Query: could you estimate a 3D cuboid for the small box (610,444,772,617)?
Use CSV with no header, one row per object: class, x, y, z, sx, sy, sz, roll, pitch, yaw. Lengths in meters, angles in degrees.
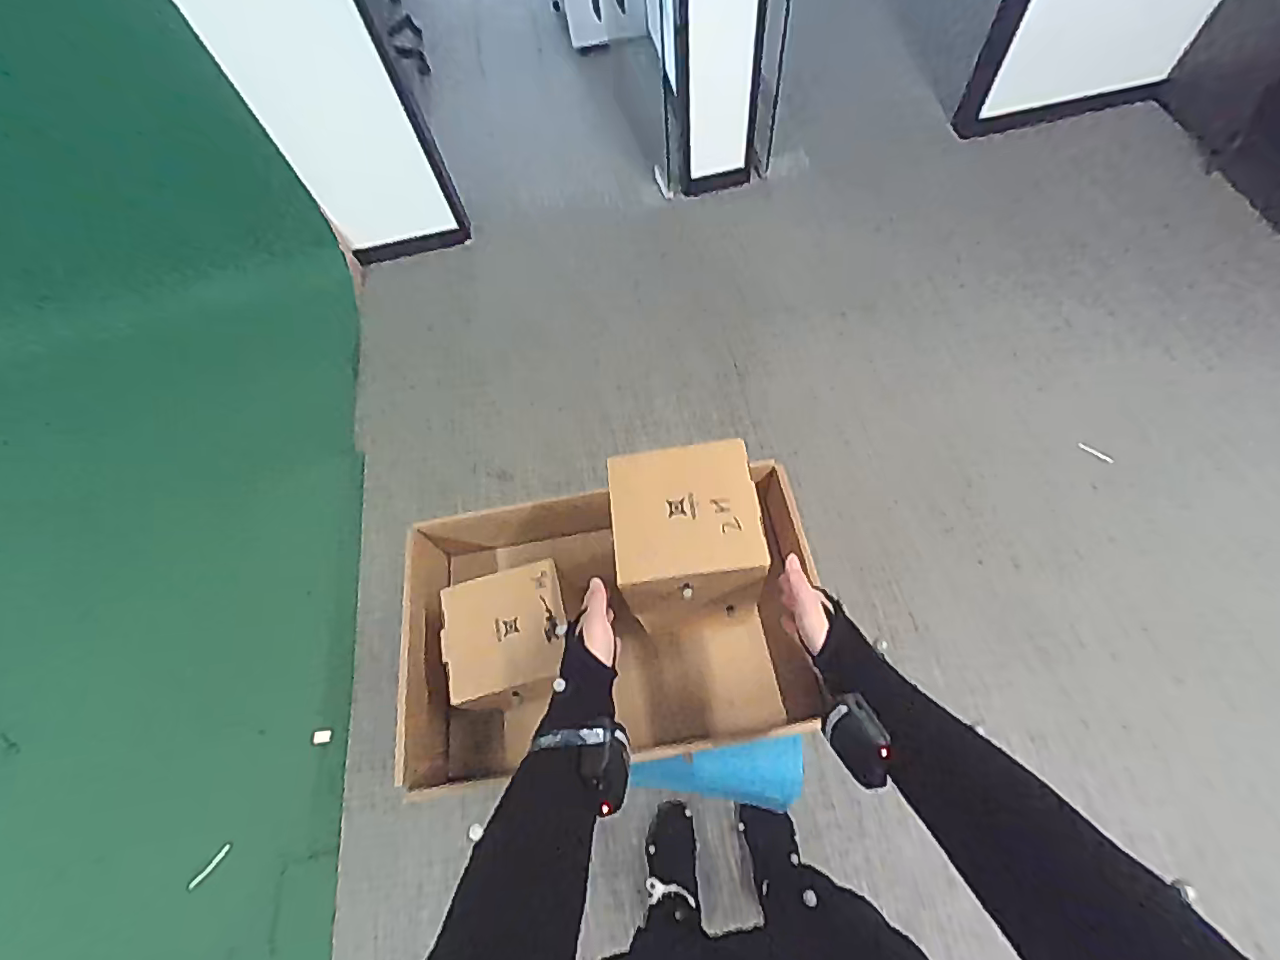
small box,0.064,0.074,0.709,0.179,0.176,0.168,-8,63,2
